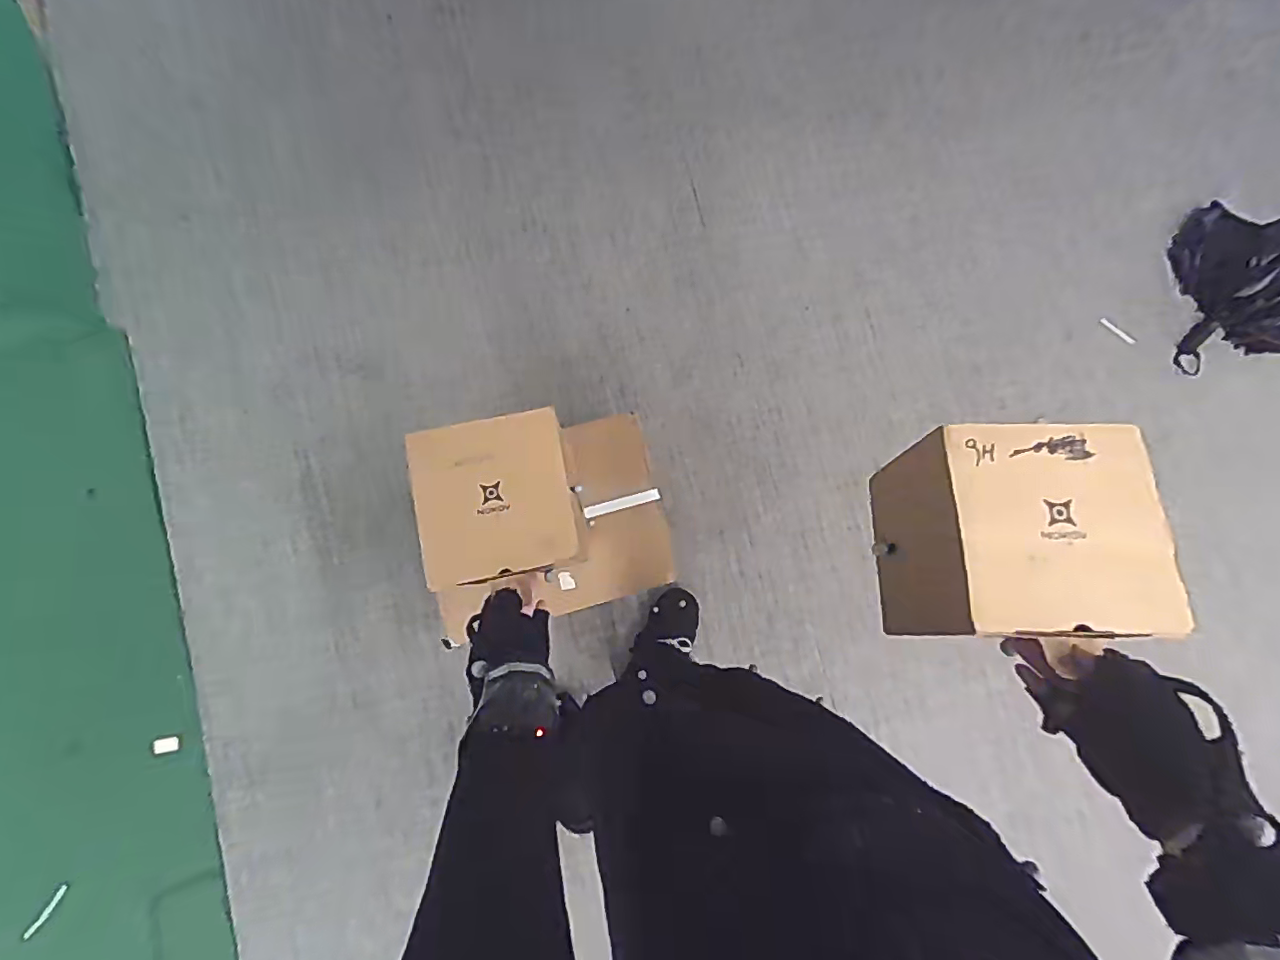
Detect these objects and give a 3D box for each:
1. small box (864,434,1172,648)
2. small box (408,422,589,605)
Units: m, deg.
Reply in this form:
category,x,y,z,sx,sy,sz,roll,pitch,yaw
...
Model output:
category,x,y,z,sx,sy,sz,roll,pitch,yaw
small box,0.332,0.066,0.518,0.168,0.176,0.179,-1,74,1
small box,-0.162,0.045,0.670,0.168,0.176,0.179,-12,81,-4
